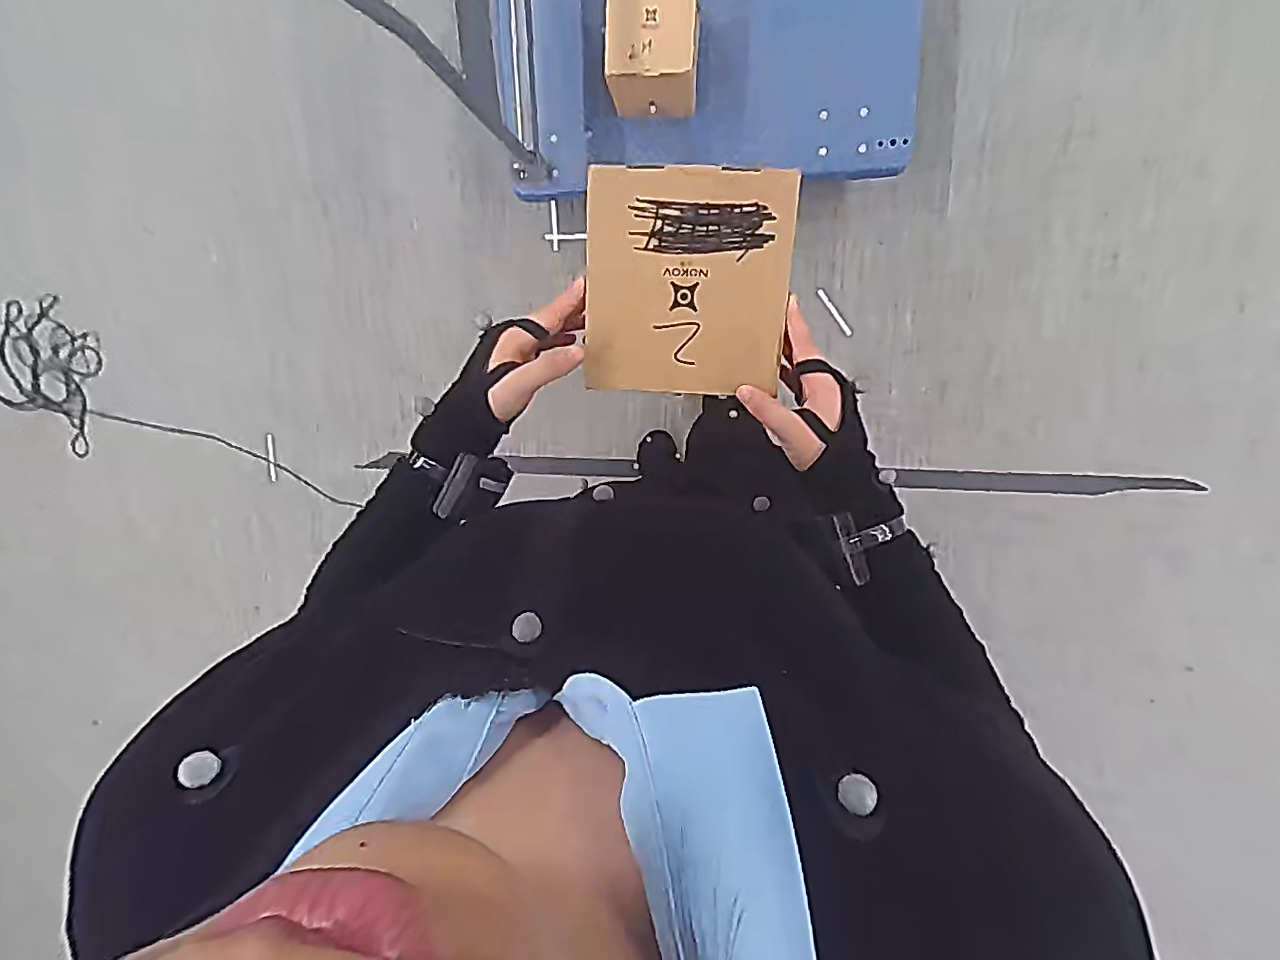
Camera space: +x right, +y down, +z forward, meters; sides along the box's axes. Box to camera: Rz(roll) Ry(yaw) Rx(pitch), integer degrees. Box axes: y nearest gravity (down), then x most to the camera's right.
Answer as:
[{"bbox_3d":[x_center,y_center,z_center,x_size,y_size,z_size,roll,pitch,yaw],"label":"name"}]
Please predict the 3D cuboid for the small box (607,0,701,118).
[{"bbox_3d":[0.032,-0.847,1.060,0.168,0.176,0.179,4,100,6],"label":"small box"}]

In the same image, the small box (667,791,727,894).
[{"bbox_3d":[0.166,1.037,1.557,0.168,0.176,0.179,-1,99,6],"label":"small box"}]
